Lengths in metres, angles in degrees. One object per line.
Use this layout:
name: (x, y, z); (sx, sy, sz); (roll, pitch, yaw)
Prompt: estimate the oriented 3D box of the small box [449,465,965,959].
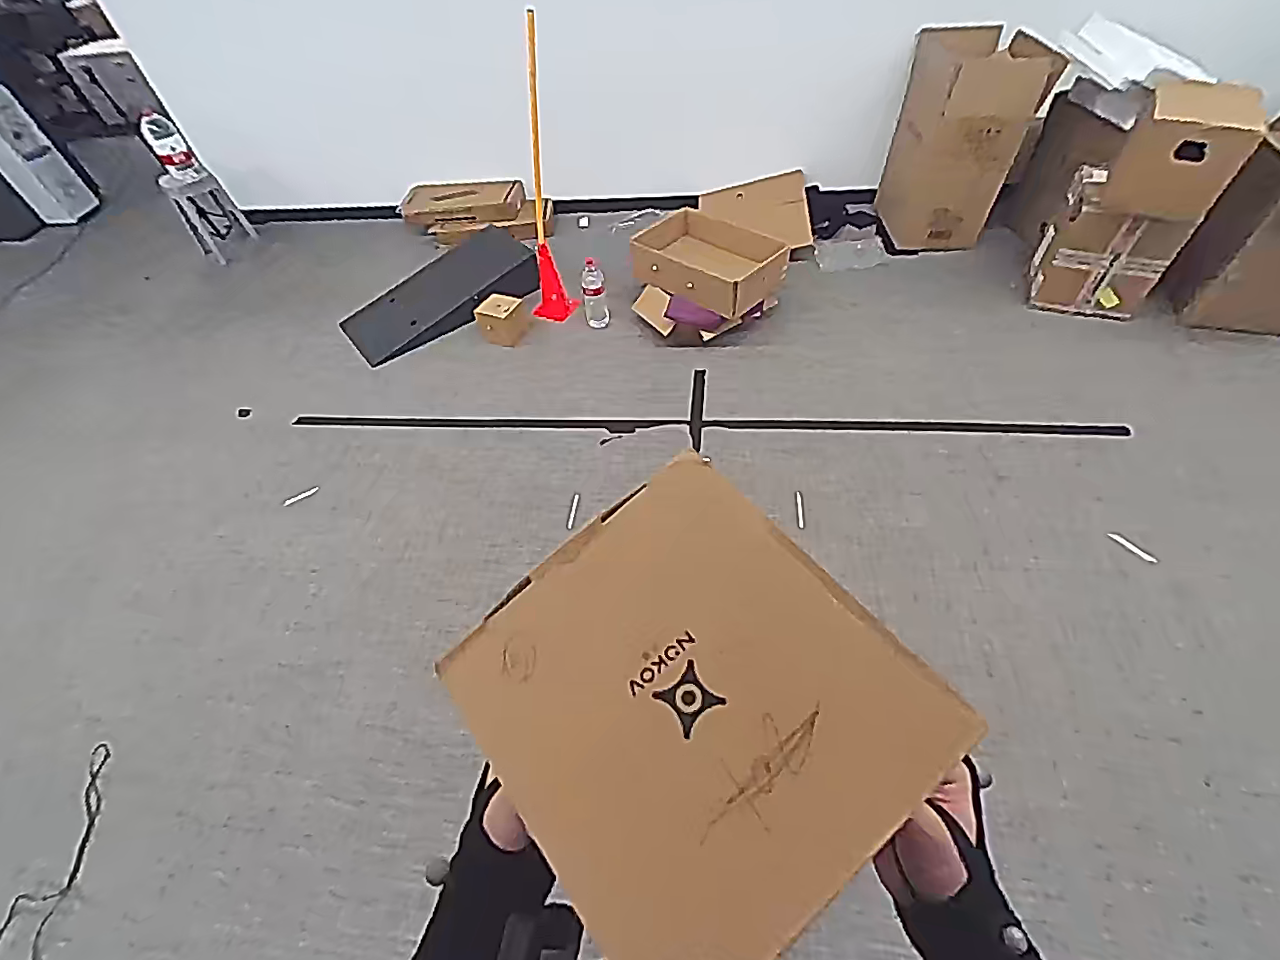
small box: (0.032, 0.130, 0.315); (0.168, 0.176, 0.179); (-42, 66, -10)
